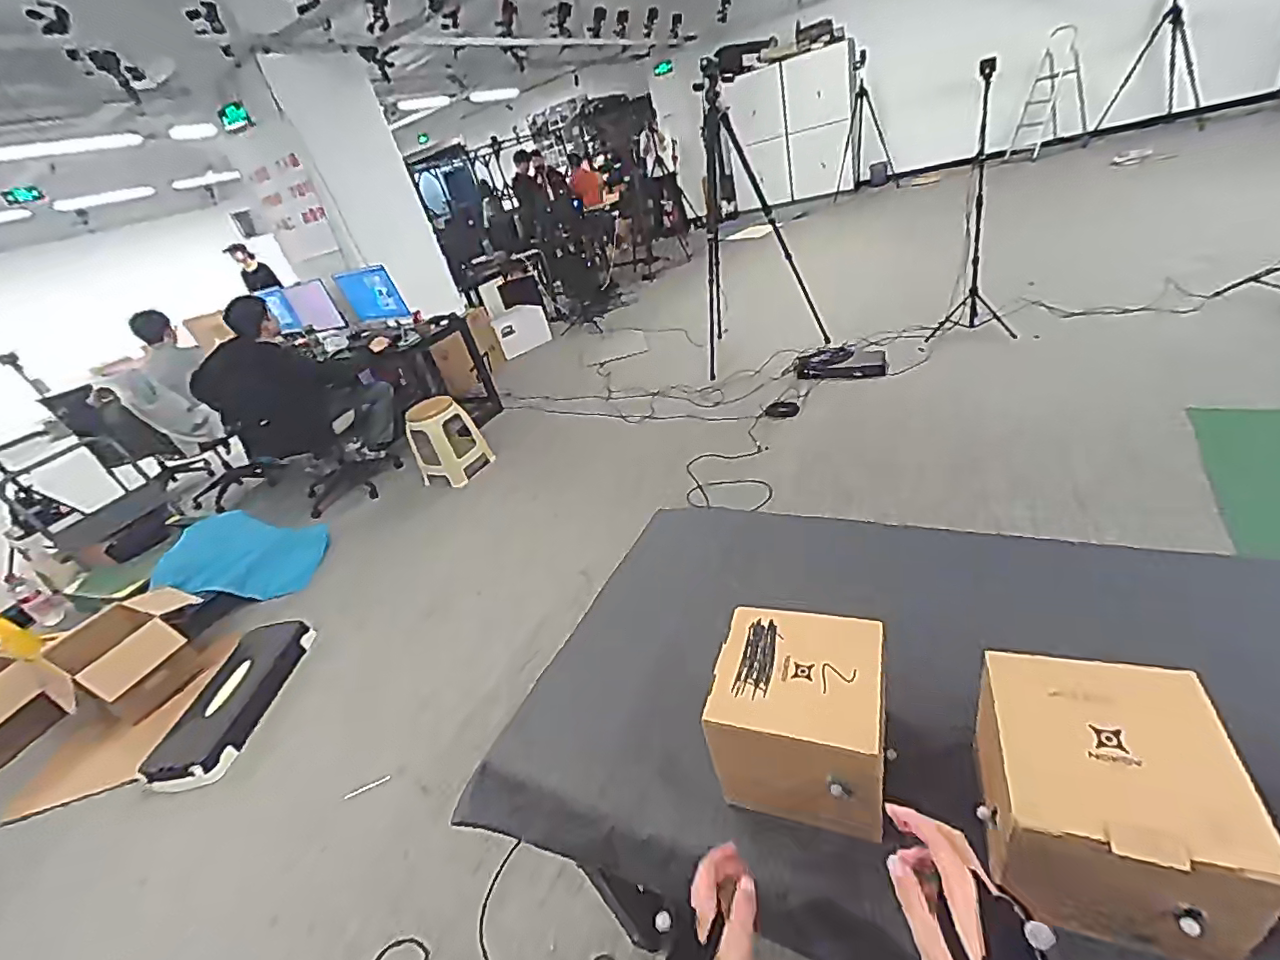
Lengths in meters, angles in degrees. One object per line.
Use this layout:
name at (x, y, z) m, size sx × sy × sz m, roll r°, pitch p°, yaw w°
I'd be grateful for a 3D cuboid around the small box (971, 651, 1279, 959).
small box at (0.417, 0.291, 0.502) m, size 0.168 × 0.176 × 0.179 m, roll 0°, pitch 33°, yaw 24°
